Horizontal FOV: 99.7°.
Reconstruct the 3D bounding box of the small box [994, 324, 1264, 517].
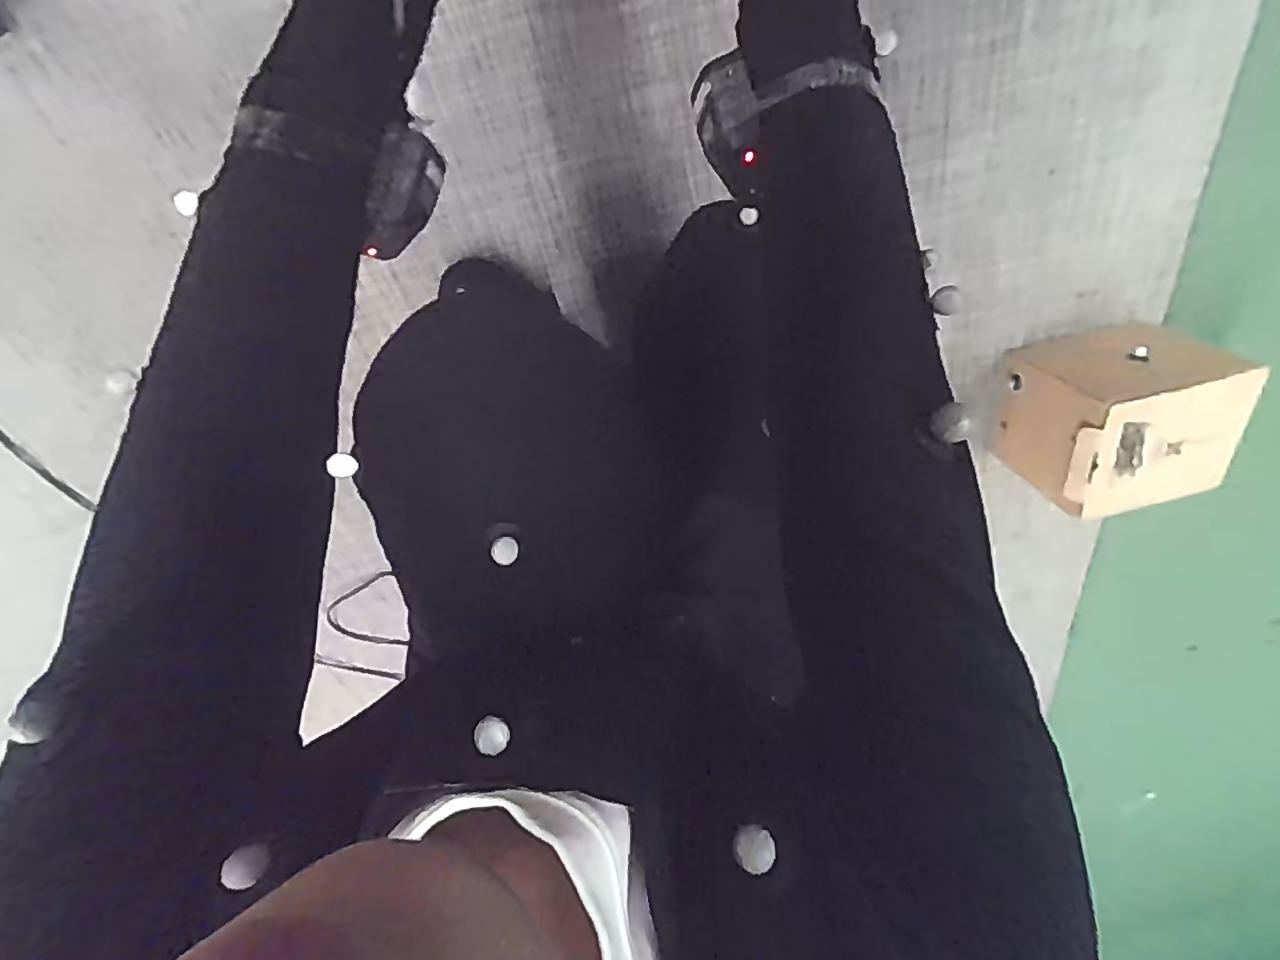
[{"bbox_3d":[0.592,-0.081,0.690,0.179,0.176,0.168,-14,123,3],"label":"small box"}]
